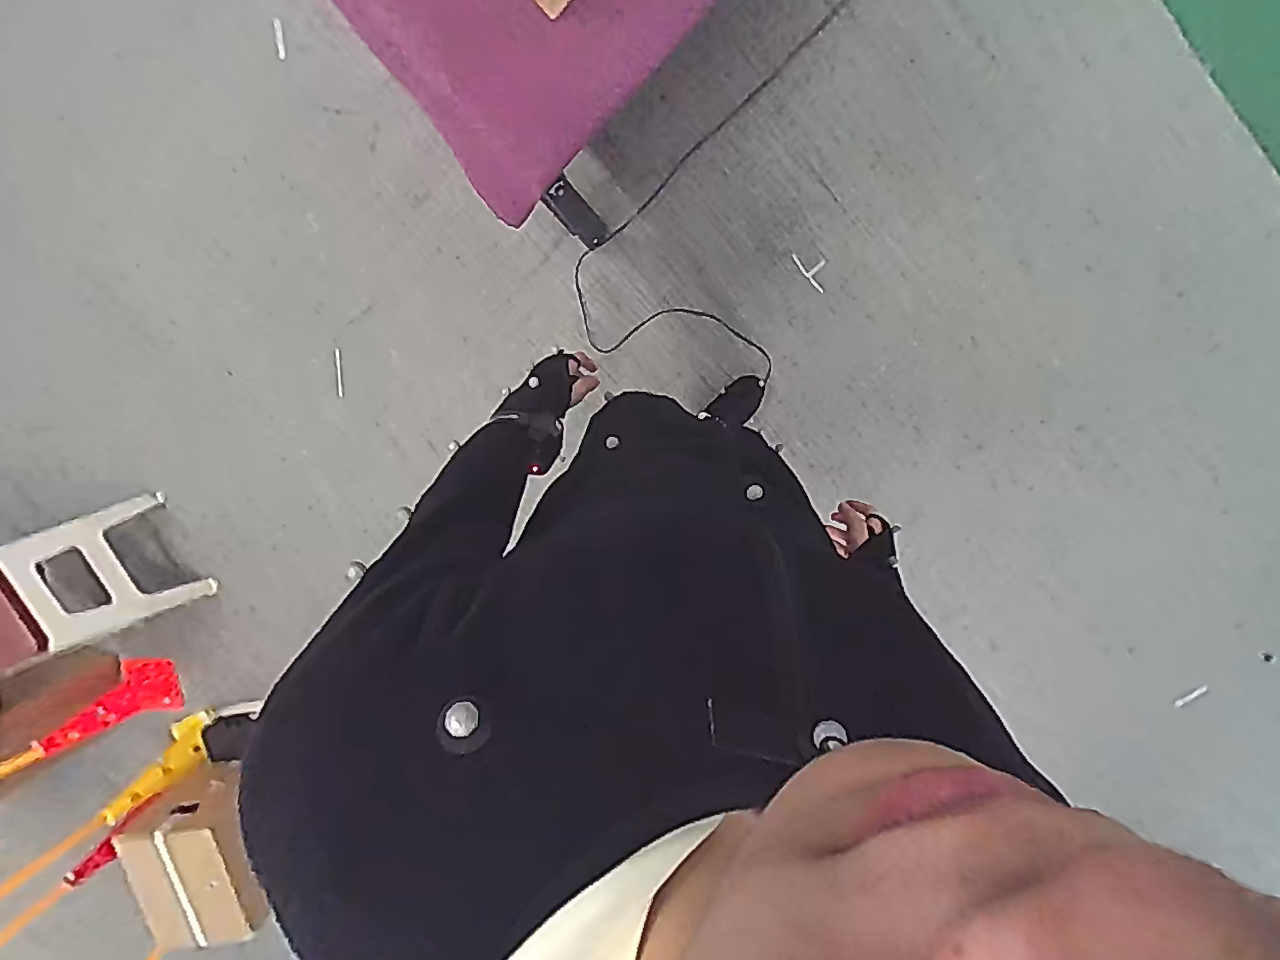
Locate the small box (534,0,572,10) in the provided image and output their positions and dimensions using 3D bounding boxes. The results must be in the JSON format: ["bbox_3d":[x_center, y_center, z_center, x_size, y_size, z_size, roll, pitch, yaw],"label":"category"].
[{"bbox_3d":[-0.124,-0.737,0.660,0.168,0.176,0.179,-43,95,11],"label":"small box"}]
